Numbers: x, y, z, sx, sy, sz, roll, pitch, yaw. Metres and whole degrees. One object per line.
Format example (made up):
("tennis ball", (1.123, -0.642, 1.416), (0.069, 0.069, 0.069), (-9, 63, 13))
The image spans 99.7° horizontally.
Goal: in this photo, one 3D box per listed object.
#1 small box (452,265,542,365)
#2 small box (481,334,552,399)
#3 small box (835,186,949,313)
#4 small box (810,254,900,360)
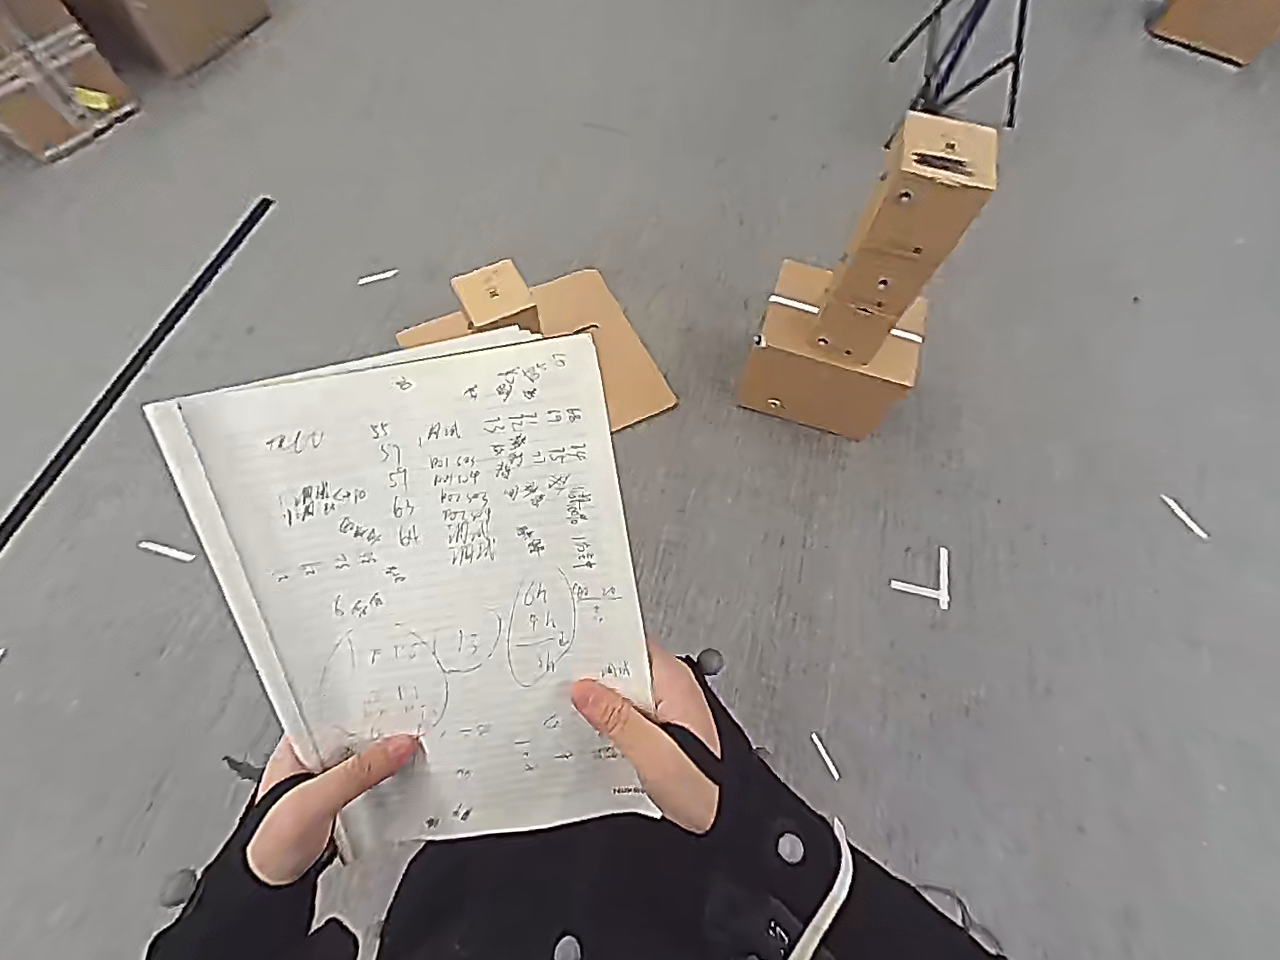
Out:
("small box", (-0.376, -0.431, 1.447), (0.168, 0.176, 0.179), (-26, 70, -14))
("small box", (-0.375, -0.374, 1.602), (0.168, 0.176, 0.179), (-28, 72, -14))
("small box", (0.546, -0.499, 1.191), (0.168, 0.176, 0.179), (17, 68, 4))
("small box", (0.536, -0.426, 1.338), (0.168, 0.176, 0.179), (20, 67, 6))
